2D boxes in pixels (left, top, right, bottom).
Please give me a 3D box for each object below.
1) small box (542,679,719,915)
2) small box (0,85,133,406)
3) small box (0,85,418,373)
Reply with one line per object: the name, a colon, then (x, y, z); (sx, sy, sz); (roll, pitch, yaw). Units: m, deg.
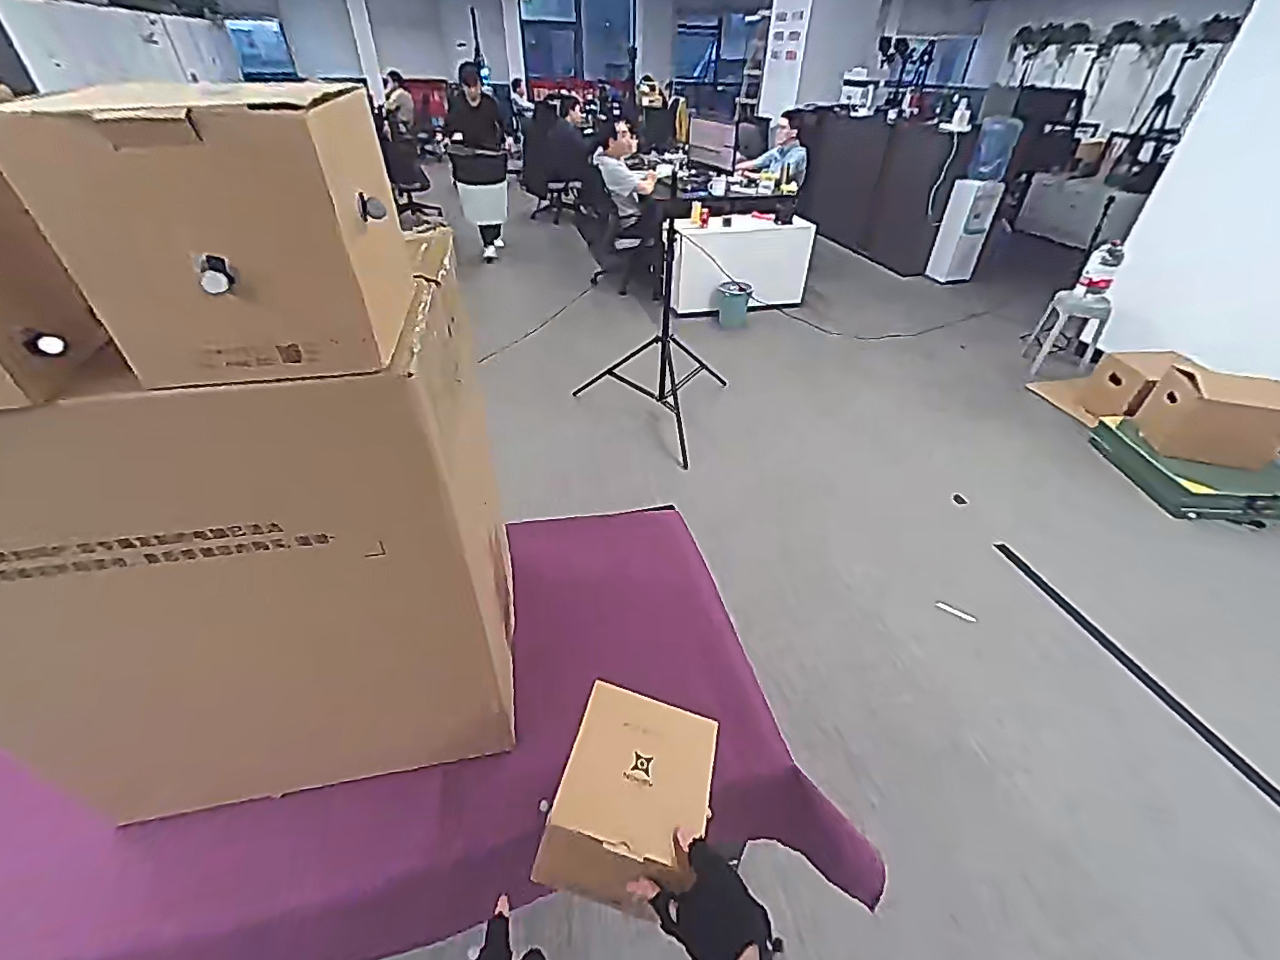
small box: (-0.013, 0.388, 0.664); (0.168, 0.176, 0.179); (18, 35, 3)
small box: (-0.500, -0.151, 0.358); (0.179, 0.176, 0.168); (-9, 40, -11)
small box: (-0.280, -0.191, 0.414); (0.168, 0.176, 0.179); (-6, 40, -9)
